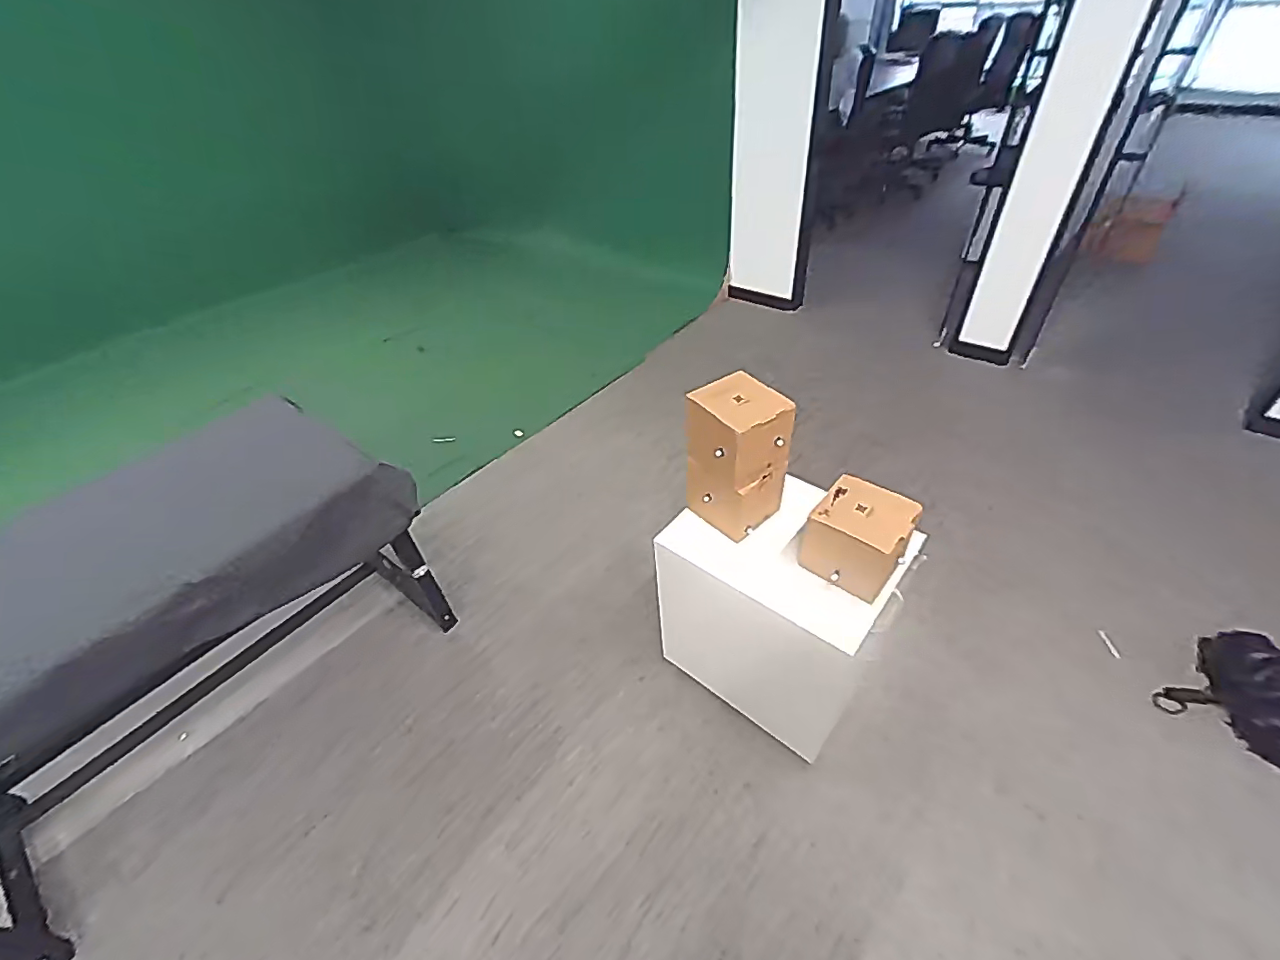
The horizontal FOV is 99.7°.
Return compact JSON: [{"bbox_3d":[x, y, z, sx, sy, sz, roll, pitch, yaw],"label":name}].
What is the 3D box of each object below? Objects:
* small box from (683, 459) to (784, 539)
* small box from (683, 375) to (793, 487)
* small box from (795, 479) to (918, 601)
[{"bbox_3d":[0.220,0.018,1.310,0.168,0.176,0.179,-32,49,-29],"label":"small box"},{"bbox_3d":[0.211,-0.104,1.205,0.168,0.176,0.179,-25,46,-25],"label":"small box"},{"bbox_3d":[0.459,0.134,1.167,0.179,0.176,0.168,29,51,31],"label":"small box"}]
